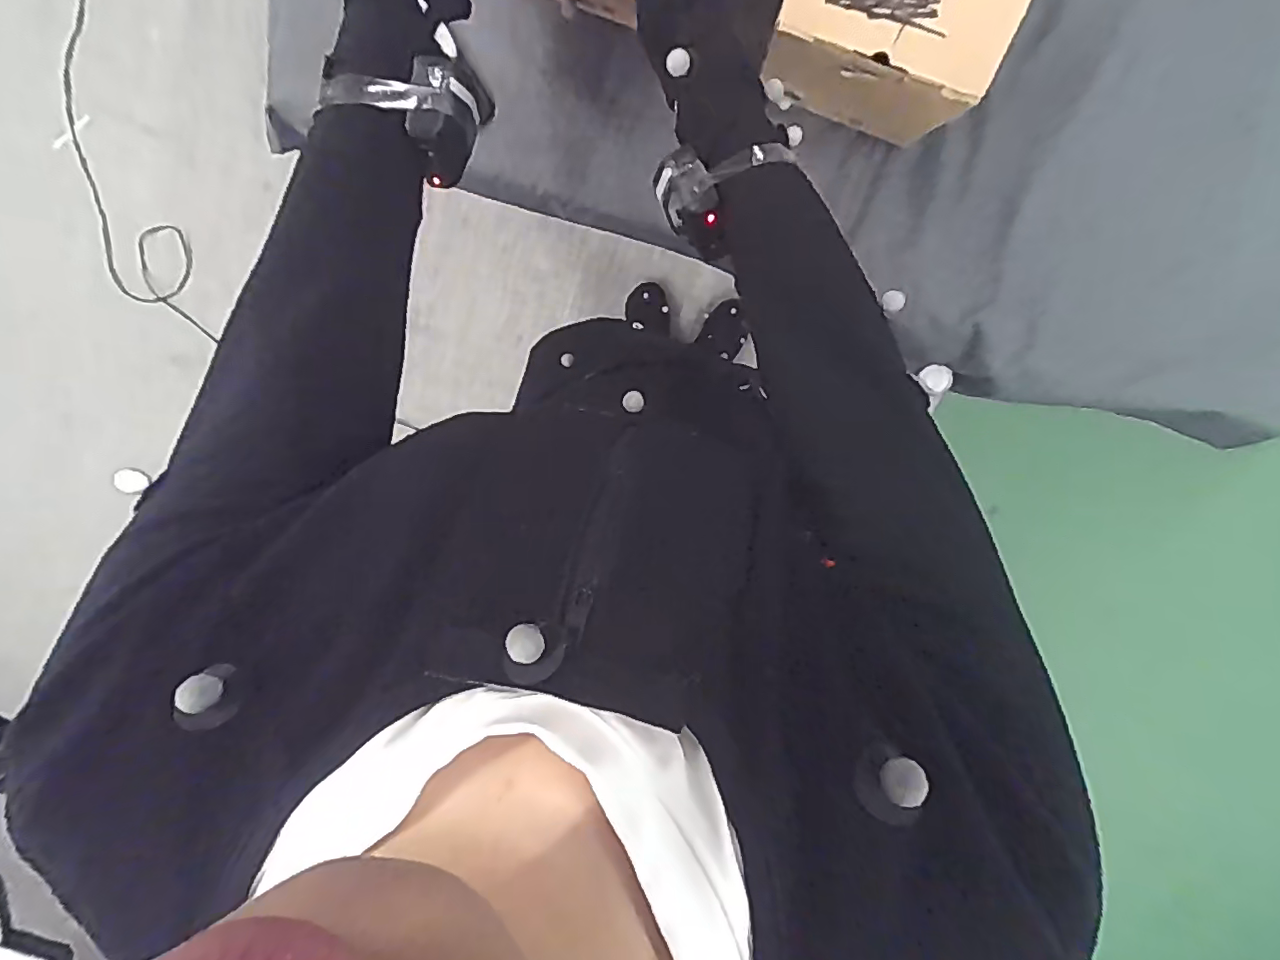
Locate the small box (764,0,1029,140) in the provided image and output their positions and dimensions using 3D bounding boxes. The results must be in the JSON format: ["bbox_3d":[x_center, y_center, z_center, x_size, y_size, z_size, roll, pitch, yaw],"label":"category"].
[{"bbox_3d":[0.212,-0.410,0.442,0.168,0.176,0.179,20,112,-2],"label":"small box"}]

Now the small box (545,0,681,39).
[{"bbox_3d":[-0.031,-0.507,0.432,0.168,0.176,0.179,19,114,0],"label":"small box"}]
